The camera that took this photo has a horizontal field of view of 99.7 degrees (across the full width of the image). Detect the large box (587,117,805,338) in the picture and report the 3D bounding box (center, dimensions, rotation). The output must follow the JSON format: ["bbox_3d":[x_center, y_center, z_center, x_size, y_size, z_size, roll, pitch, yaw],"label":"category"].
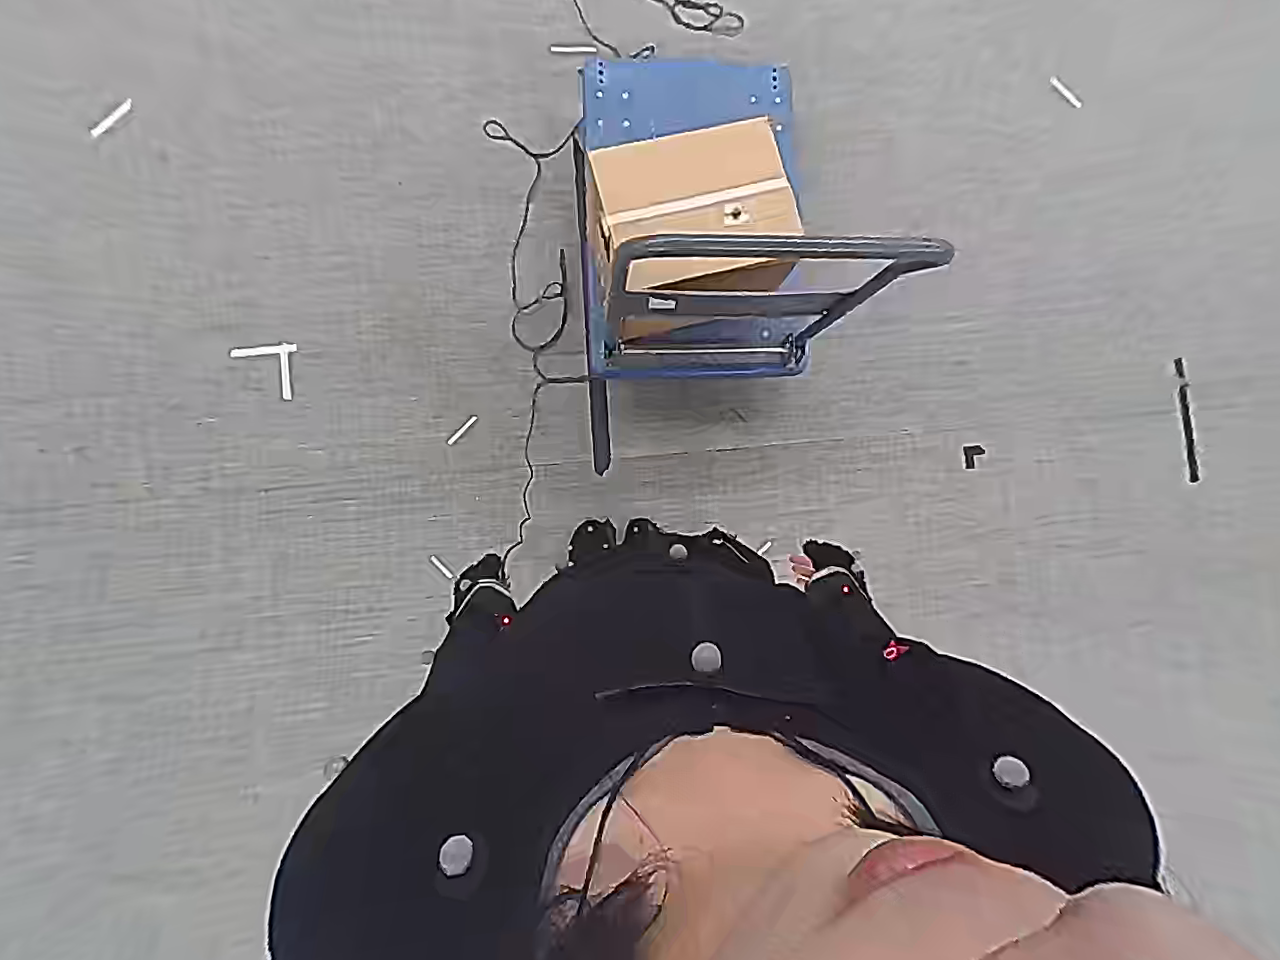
[{"bbox_3d":[0.108,-0.574,1.283,0.408,0.320,0.320,-15,87,-7],"label":"large box"}]
